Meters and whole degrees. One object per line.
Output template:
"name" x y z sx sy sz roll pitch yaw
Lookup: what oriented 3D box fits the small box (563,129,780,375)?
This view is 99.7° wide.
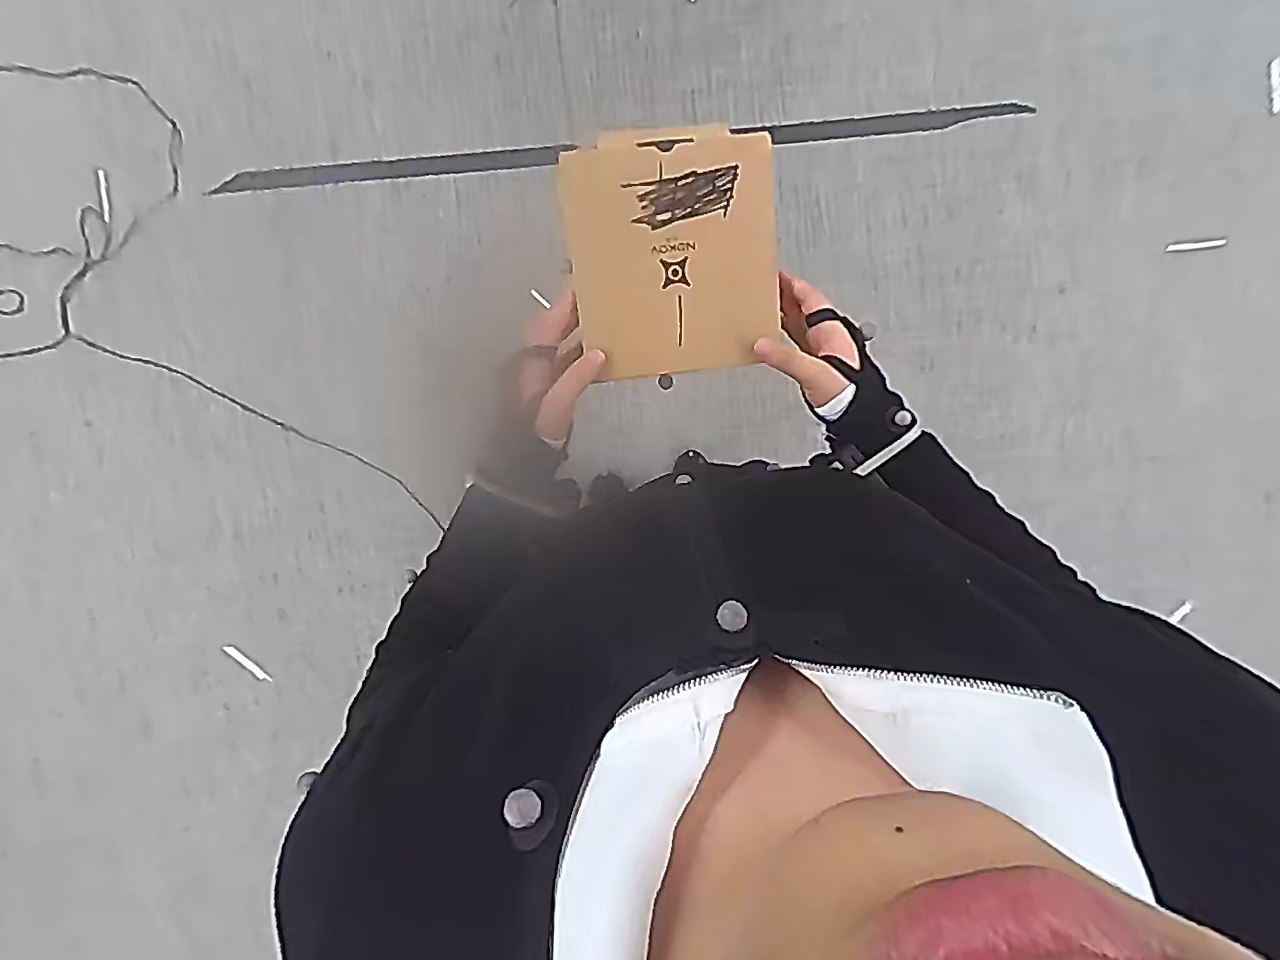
"small box" 0.023 -0.195 0.512 0.168 0.176 0.179 -7 102 -1
